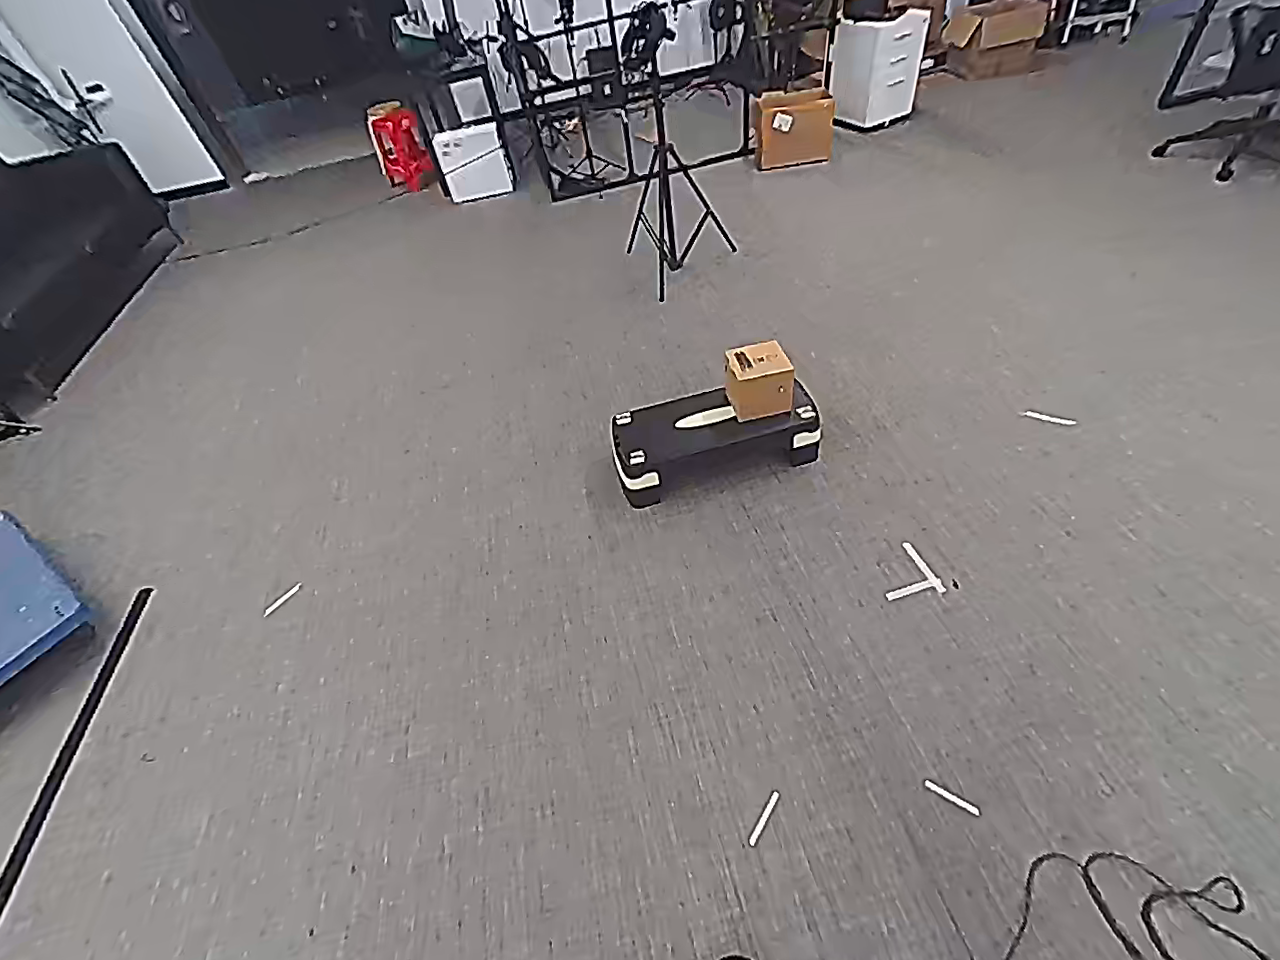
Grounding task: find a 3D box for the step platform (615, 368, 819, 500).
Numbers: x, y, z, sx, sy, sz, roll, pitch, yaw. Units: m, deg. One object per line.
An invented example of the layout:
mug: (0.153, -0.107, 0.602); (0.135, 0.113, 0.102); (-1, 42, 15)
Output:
step platform: (0.256, -0.166, 1.865); (0.684, 0.204, 0.286); (-16, 46, -3)
